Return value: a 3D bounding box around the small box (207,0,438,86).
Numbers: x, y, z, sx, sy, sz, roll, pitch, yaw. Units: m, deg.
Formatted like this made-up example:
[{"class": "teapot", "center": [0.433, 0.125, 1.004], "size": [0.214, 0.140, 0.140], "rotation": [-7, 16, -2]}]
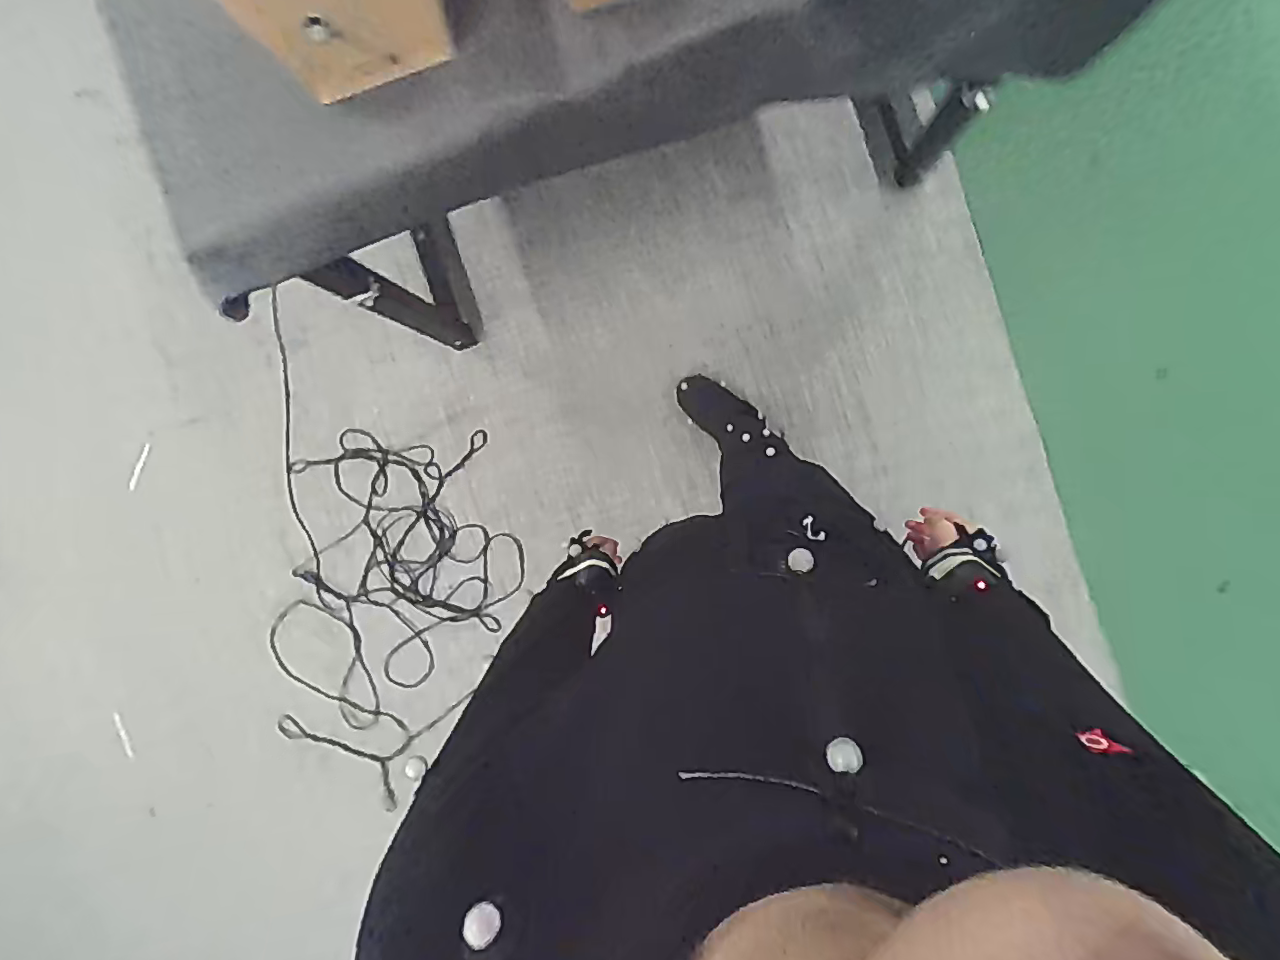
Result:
[{"class": "small box", "center": [-0.323, -0.531, 0.525], "size": [0.168, 0.176, 0.179], "rotation": [-16, 89, 6]}]
